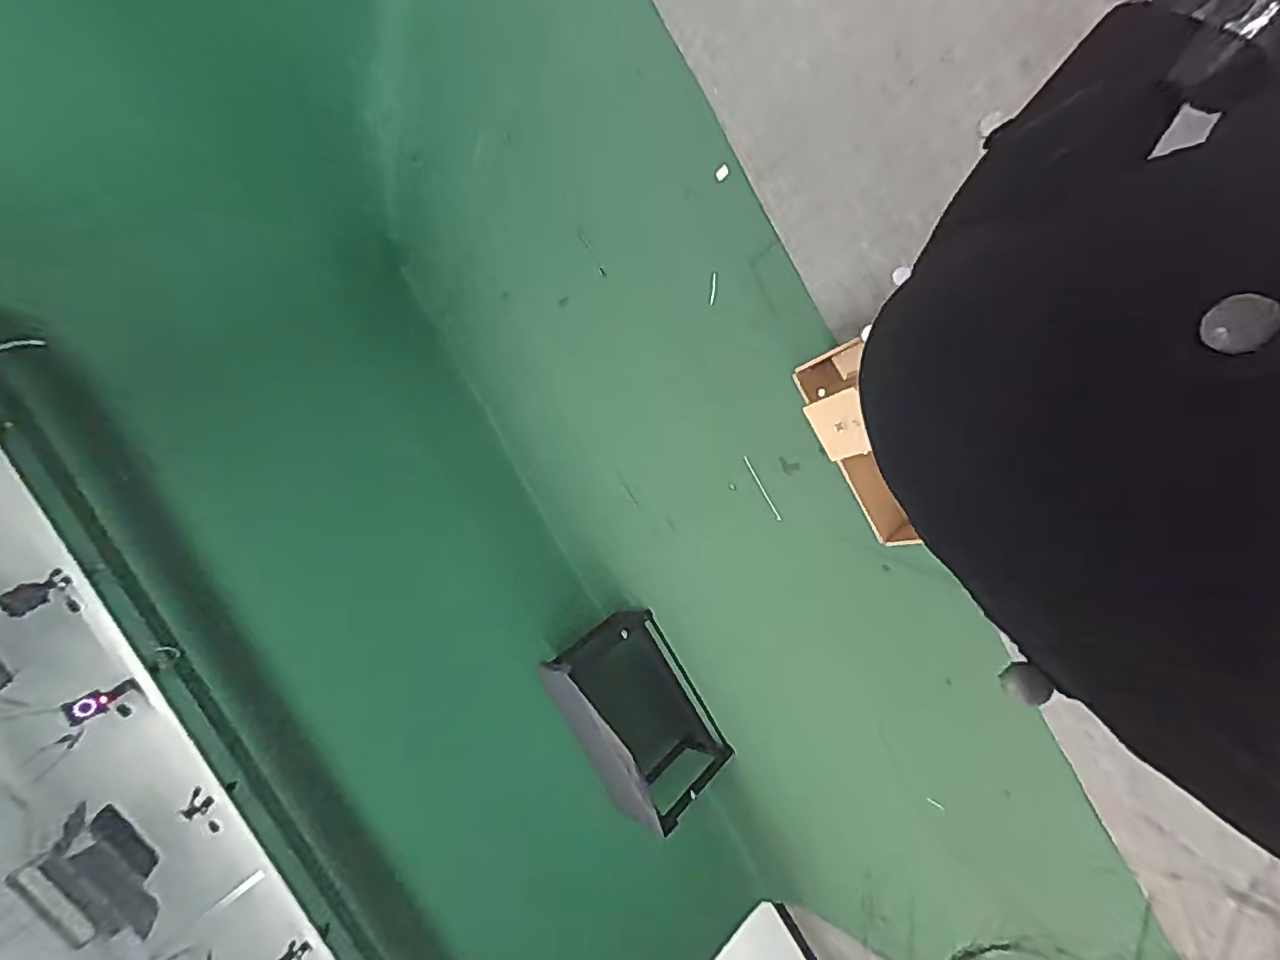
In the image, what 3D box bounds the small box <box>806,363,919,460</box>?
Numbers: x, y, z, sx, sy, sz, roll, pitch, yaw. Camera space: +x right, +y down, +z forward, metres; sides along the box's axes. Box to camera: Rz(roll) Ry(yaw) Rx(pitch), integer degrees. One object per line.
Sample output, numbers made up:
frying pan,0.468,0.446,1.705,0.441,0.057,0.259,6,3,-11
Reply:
small box,0.568,-0.173,1.379,0.168,0.176,0.179,59,150,-5
